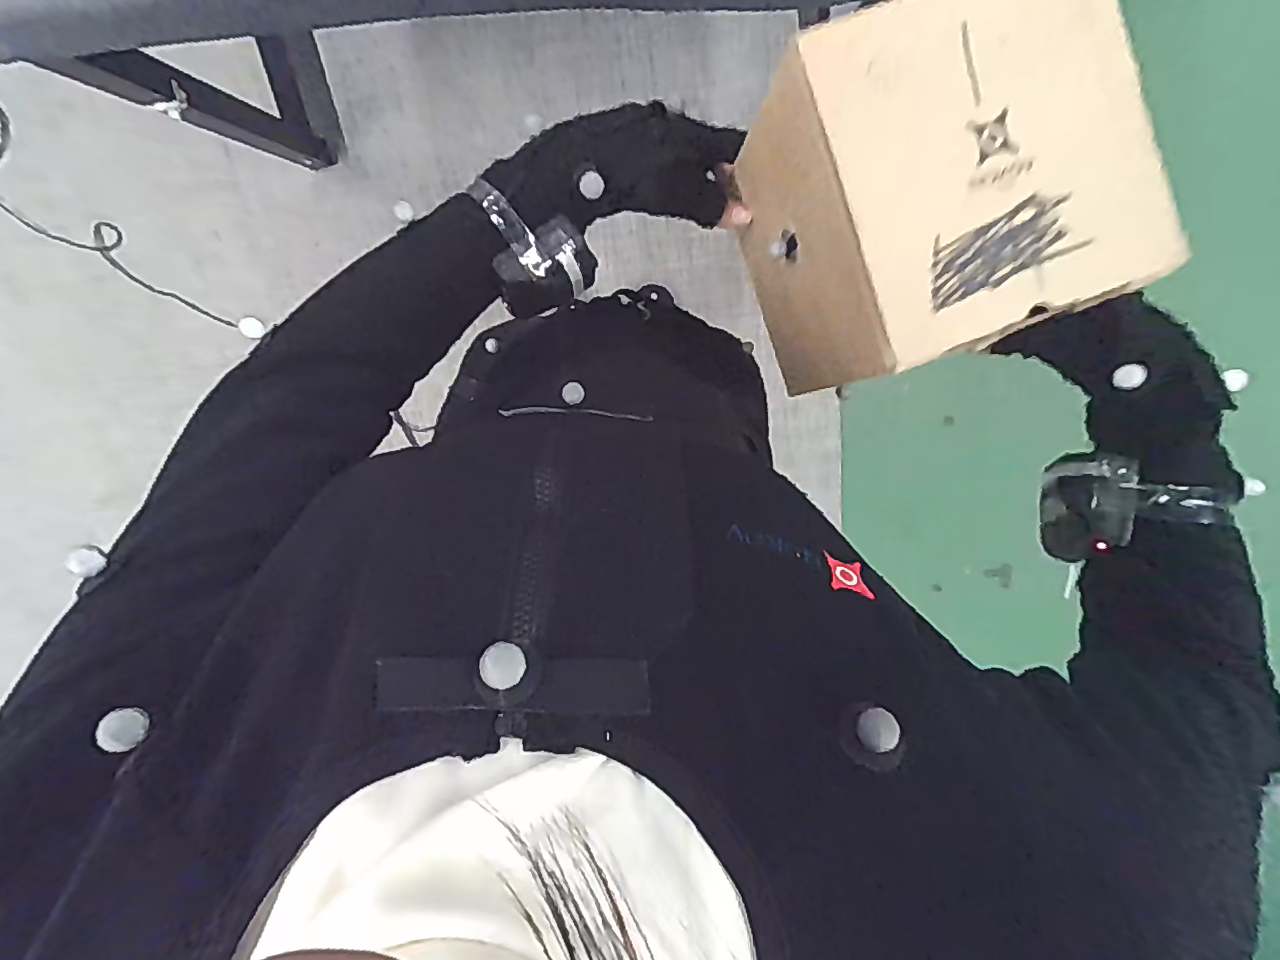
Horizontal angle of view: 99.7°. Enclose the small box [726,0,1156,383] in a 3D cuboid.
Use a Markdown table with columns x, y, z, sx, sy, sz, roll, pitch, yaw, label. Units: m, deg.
| x | y | z | sx | sy | sz | roll | pitch | yaw | label |
| --- | --- | --- | --- | --- | --- | --- | --- | --- | --- |
| 0.173 | -0.172 | 0.365 | 0.168 | 0.176 | 0.179 | -19 | 94 | -2 | small box |
